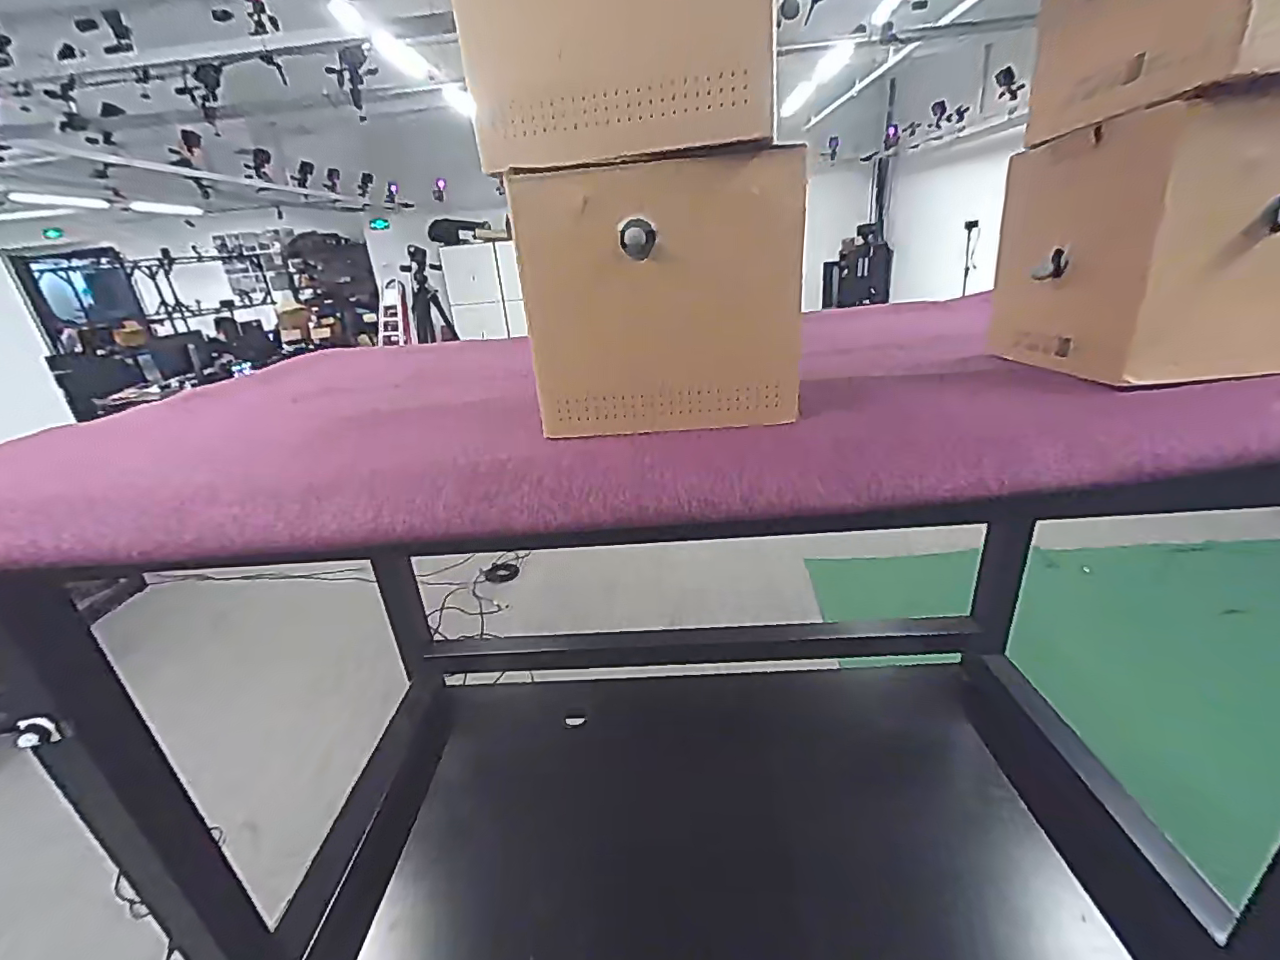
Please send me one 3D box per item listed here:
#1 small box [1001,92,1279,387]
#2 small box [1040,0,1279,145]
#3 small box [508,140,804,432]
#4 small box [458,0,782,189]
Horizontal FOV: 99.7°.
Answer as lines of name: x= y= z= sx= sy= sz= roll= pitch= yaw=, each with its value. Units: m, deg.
small box: x=0.397 y=-0.169 z=0.396 sx=0.179 sy=0.176 sz=0.168 roll=-5 pitch=21 yaw=5
small box: x=0.381 y=-0.316 z=0.326 sx=0.179 sy=0.176 sz=0.168 roll=-4 pitch=21 yaw=4
small box: x=0.019 y=-0.139 z=0.412 sx=0.179 sy=0.176 sz=0.168 roll=-2 pitch=24 yaw=4
small box: x=0.001 y=-0.287 z=0.348 sx=0.179 sy=0.176 sz=0.168 roll=0 pitch=23 yaw=14
